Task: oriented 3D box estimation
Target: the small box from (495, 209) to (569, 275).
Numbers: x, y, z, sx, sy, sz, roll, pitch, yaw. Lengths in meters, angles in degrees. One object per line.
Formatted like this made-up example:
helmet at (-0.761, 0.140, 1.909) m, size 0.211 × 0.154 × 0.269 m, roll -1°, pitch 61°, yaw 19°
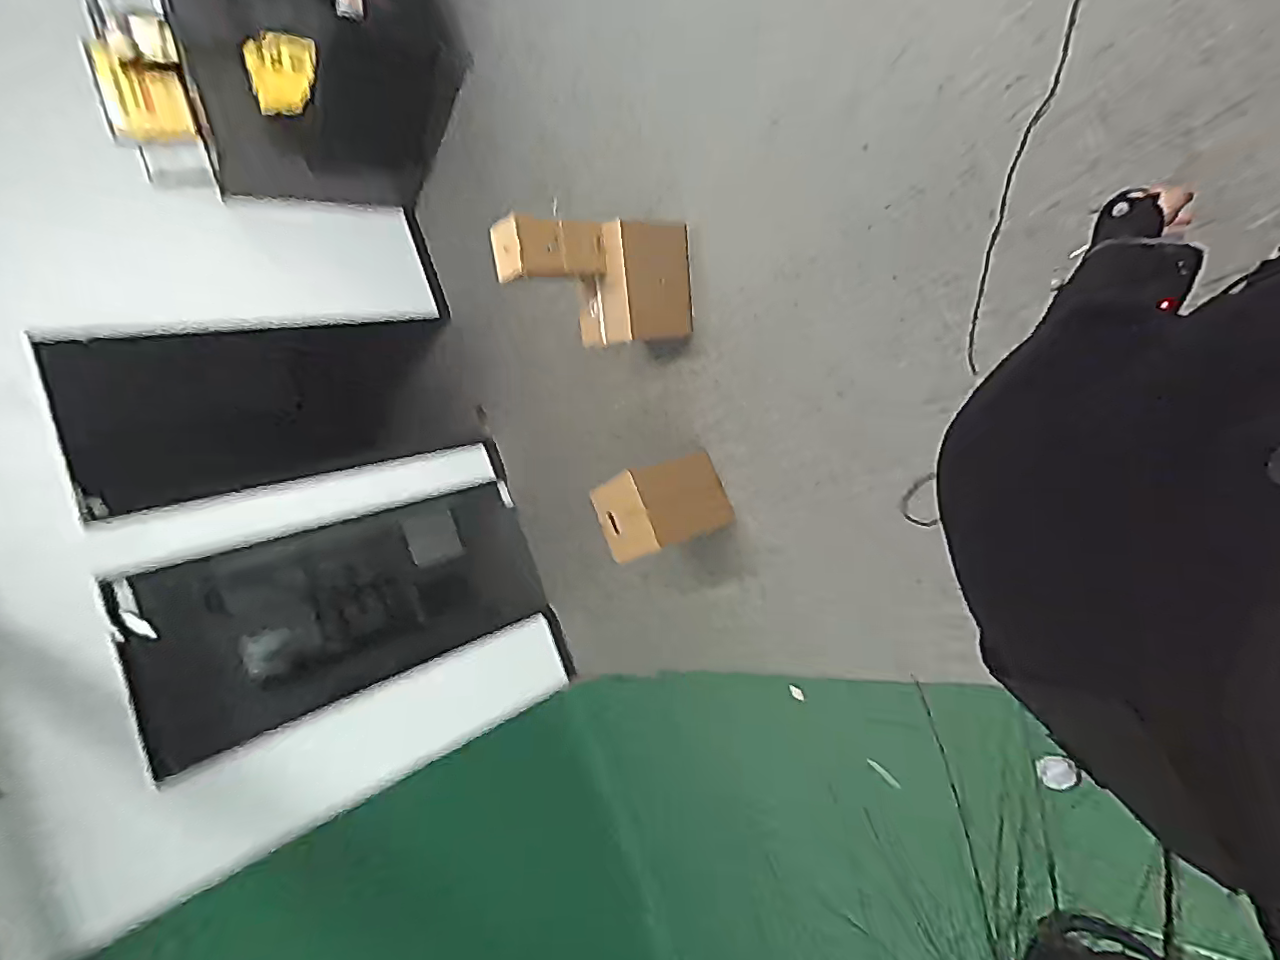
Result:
small box at (-0.358, -0.782, 1.795) m, size 0.179 × 0.176 × 0.168 m, roll 6°, pitch 108°, yaw 50°
